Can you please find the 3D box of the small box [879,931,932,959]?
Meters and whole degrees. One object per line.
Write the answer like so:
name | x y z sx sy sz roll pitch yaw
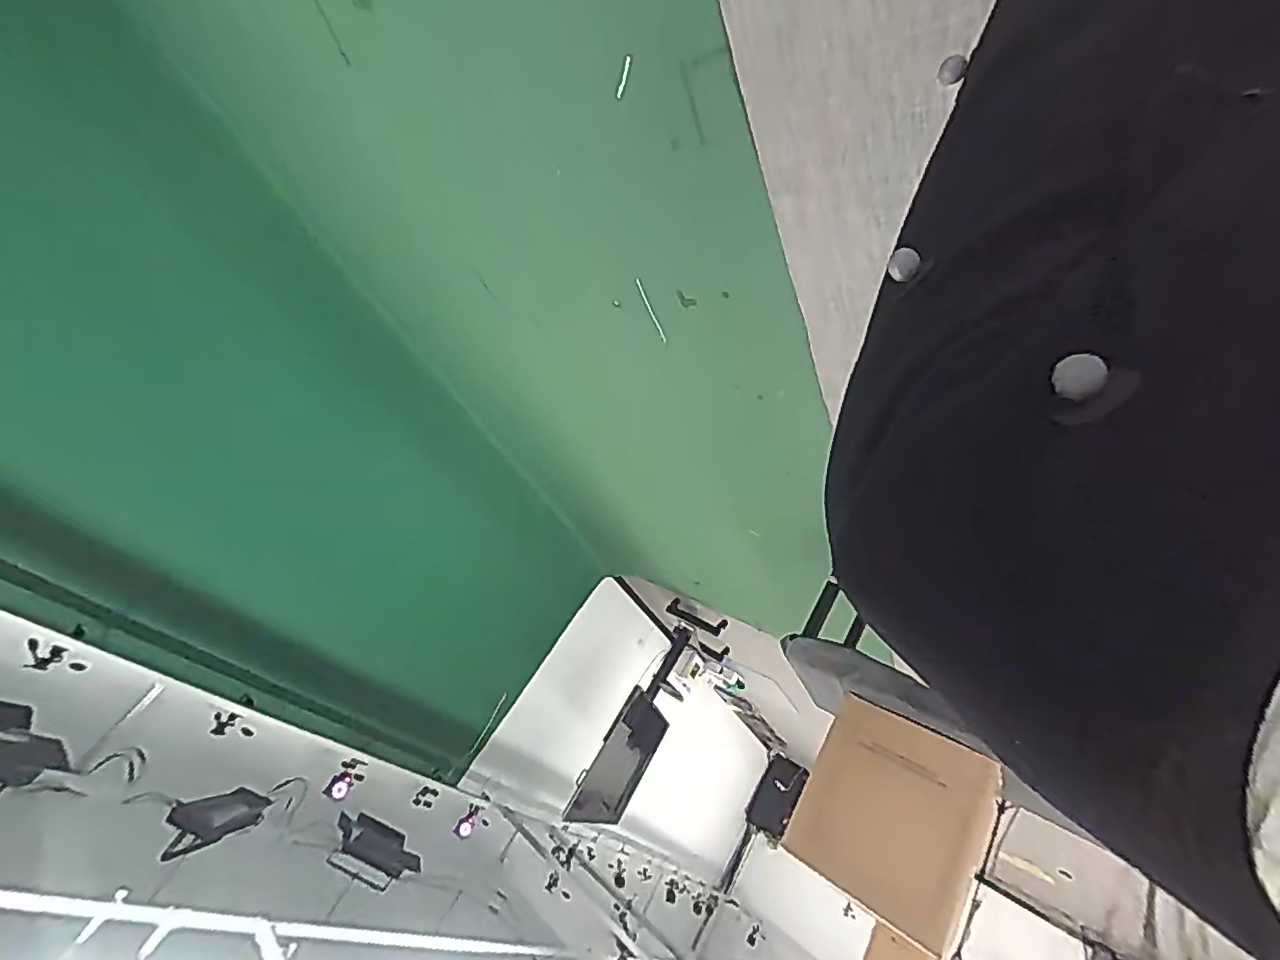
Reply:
small box | 0.869 1.605 1.741 0.168 0.176 0.179 14 149 42
